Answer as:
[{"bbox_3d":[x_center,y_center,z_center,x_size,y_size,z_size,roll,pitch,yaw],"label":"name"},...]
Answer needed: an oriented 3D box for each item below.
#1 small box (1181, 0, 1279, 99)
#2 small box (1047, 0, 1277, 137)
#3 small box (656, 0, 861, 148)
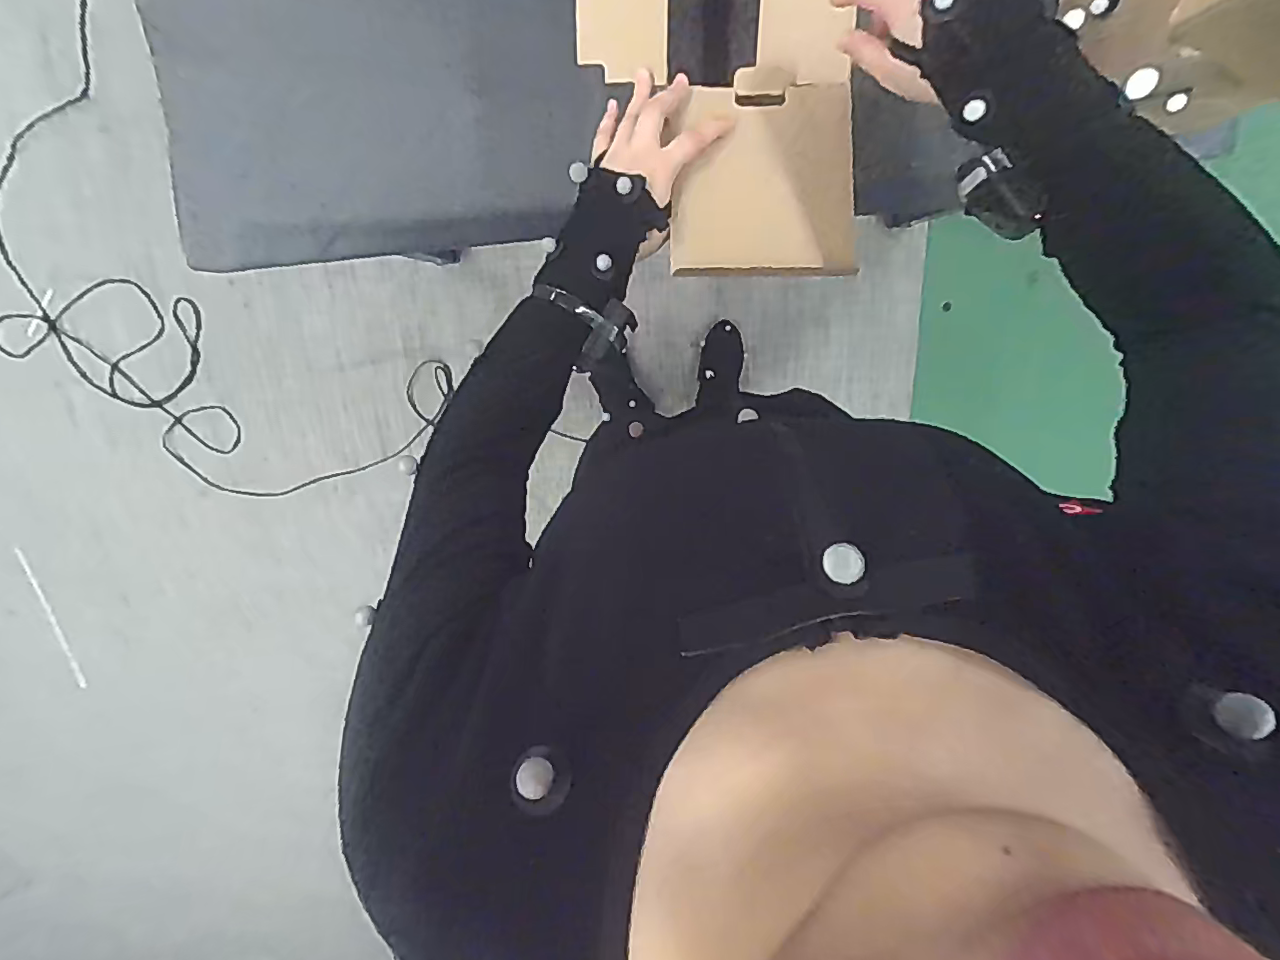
[{"bbox_3d":[0.553,-0.395,0.369,0.179,0.176,0.168,22,103,-7],"label":"small box"},{"bbox_3d":[0.546,-0.453,0.522,0.179,0.176,0.168,2,105,-1],"label":"small box"},{"bbox_3d":[0.103,-0.440,0.523,0.168,0.176,0.179,-1,105,-1],"label":"small box"}]
